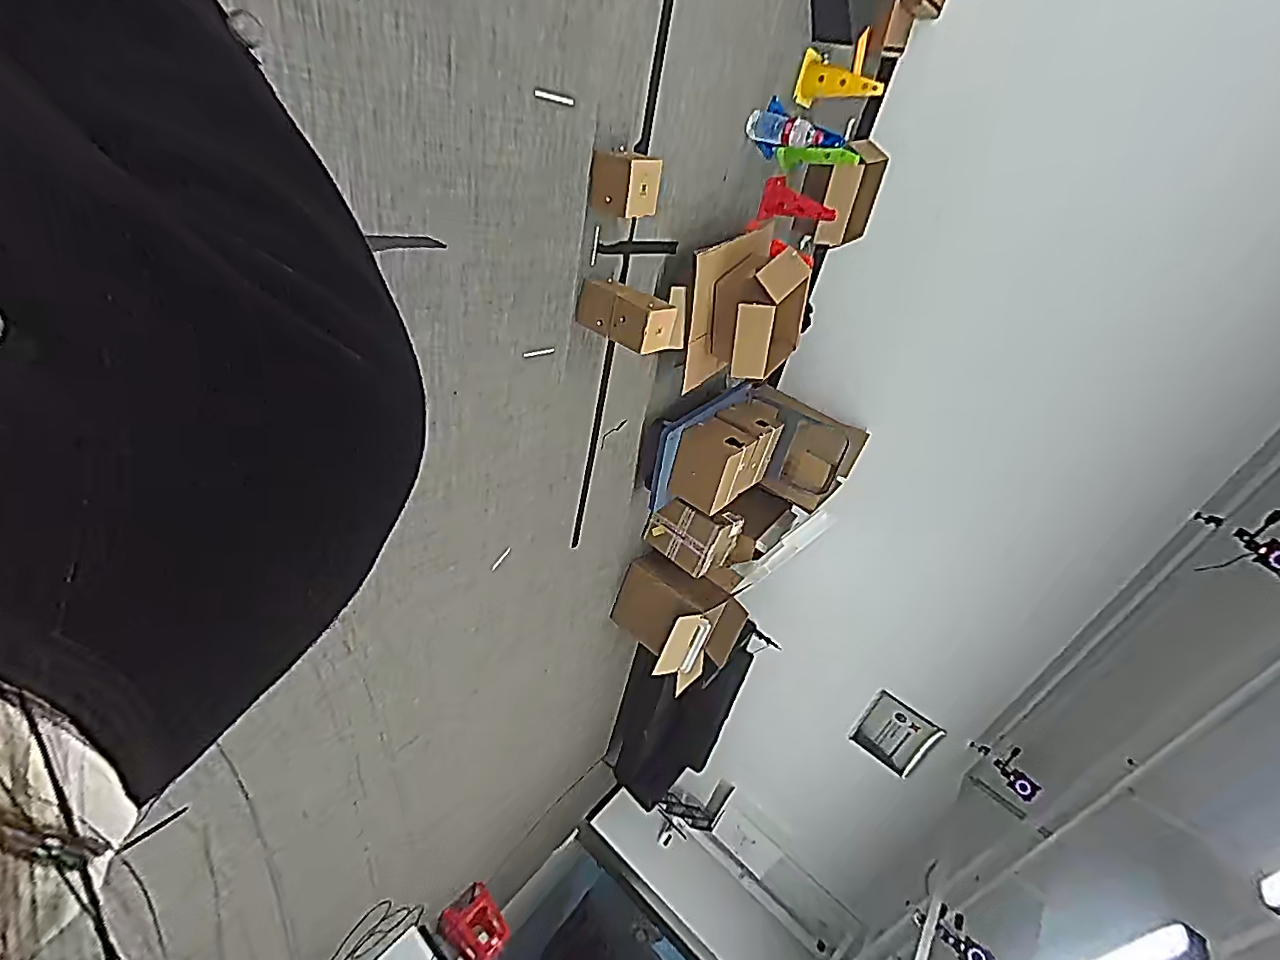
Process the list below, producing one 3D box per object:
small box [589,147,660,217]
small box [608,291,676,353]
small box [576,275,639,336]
[{"bbox_3d":[-0.056,-1.019,1.843,0.168,0.176,0.179,-33,144,-41],"label":"small box"},{"bbox_3d":[0.005,-0.601,2.036,0.179,0.176,0.168,-27,142,-45],"label":"small box"},{"bbox_3d":[-0.126,-0.676,2.098,0.168,0.176,0.179,-24,139,-49],"label":"small box"}]
